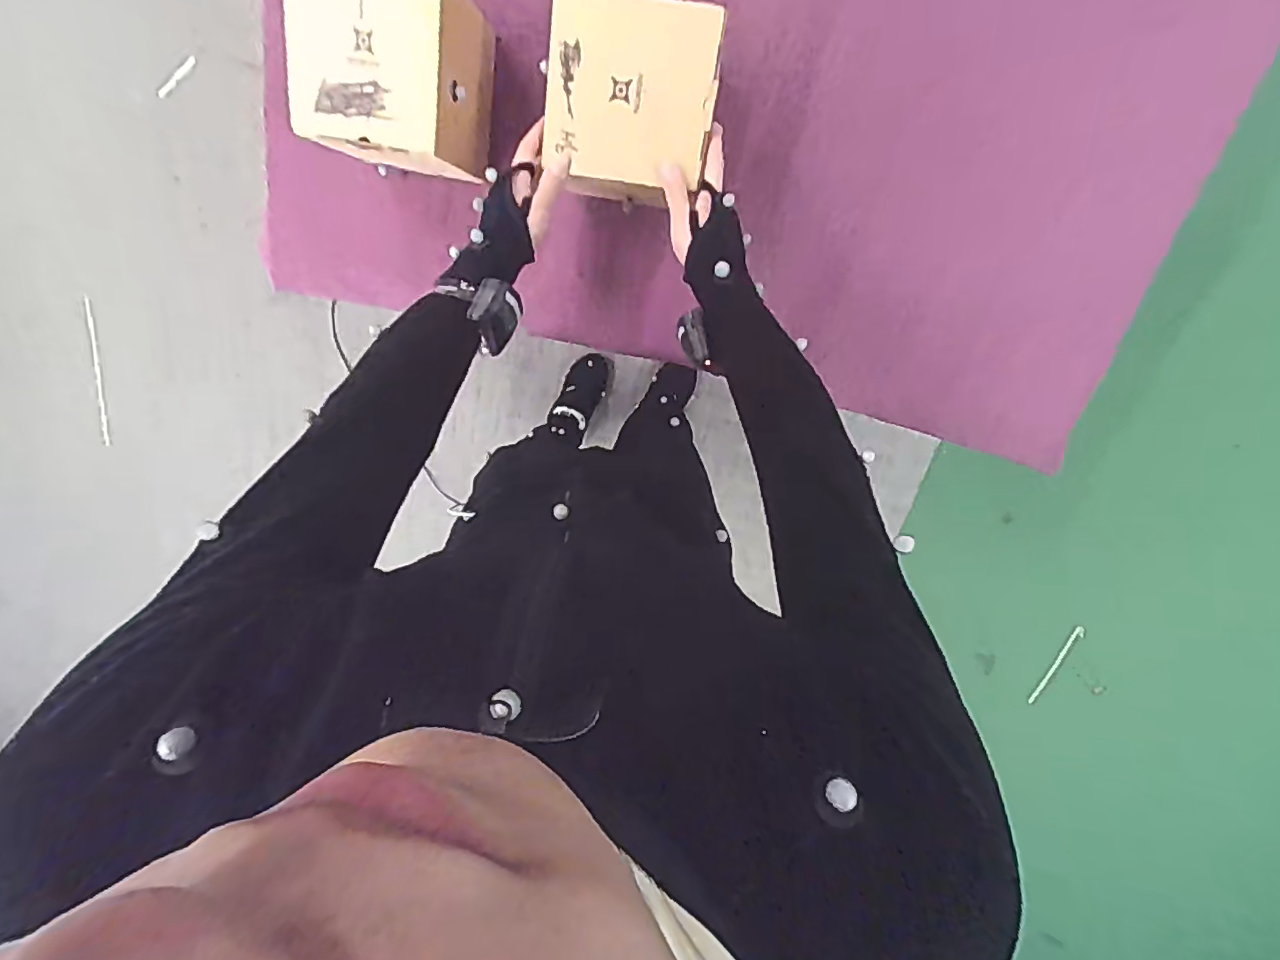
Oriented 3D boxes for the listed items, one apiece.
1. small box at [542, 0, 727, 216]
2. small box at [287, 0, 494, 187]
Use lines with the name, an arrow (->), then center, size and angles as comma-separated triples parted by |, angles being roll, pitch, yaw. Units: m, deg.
small box -> -0.005, -0.420, 0.640 | 0.179, 0.176, 0.168 | 10, 110, 1
small box -> -0.283, -0.469, 0.645 | 0.168, 0.176, 0.179 | 10, 109, 1
